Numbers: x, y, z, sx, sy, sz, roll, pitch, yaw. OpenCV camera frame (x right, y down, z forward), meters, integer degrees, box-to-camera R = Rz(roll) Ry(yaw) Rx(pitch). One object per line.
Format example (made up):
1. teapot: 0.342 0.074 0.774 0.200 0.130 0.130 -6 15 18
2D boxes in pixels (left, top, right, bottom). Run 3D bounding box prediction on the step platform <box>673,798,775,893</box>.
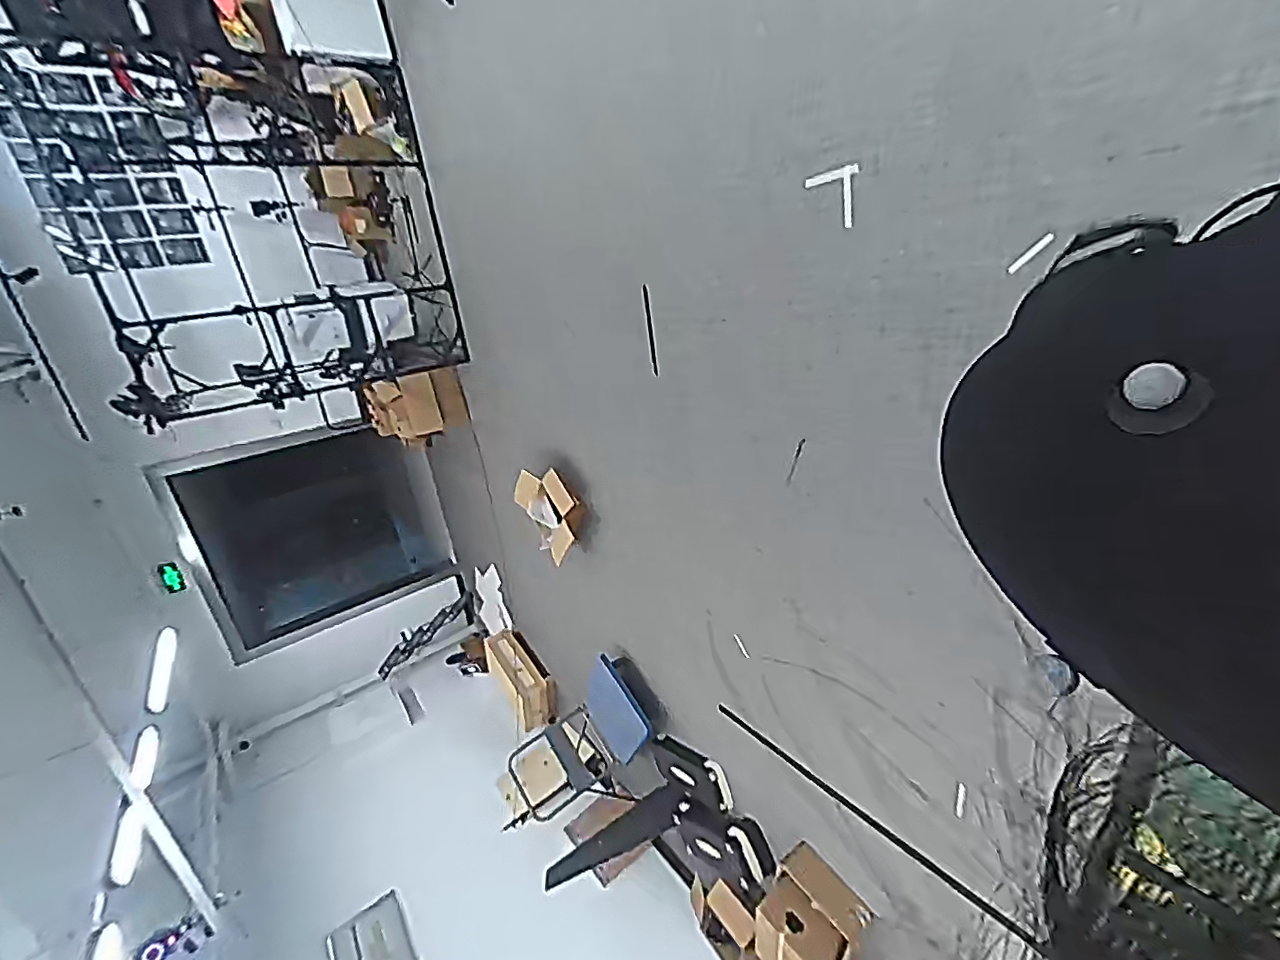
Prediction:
1. step platform: 0.470 2.144 3.199 0.684 0.204 0.286 -29 83 57
